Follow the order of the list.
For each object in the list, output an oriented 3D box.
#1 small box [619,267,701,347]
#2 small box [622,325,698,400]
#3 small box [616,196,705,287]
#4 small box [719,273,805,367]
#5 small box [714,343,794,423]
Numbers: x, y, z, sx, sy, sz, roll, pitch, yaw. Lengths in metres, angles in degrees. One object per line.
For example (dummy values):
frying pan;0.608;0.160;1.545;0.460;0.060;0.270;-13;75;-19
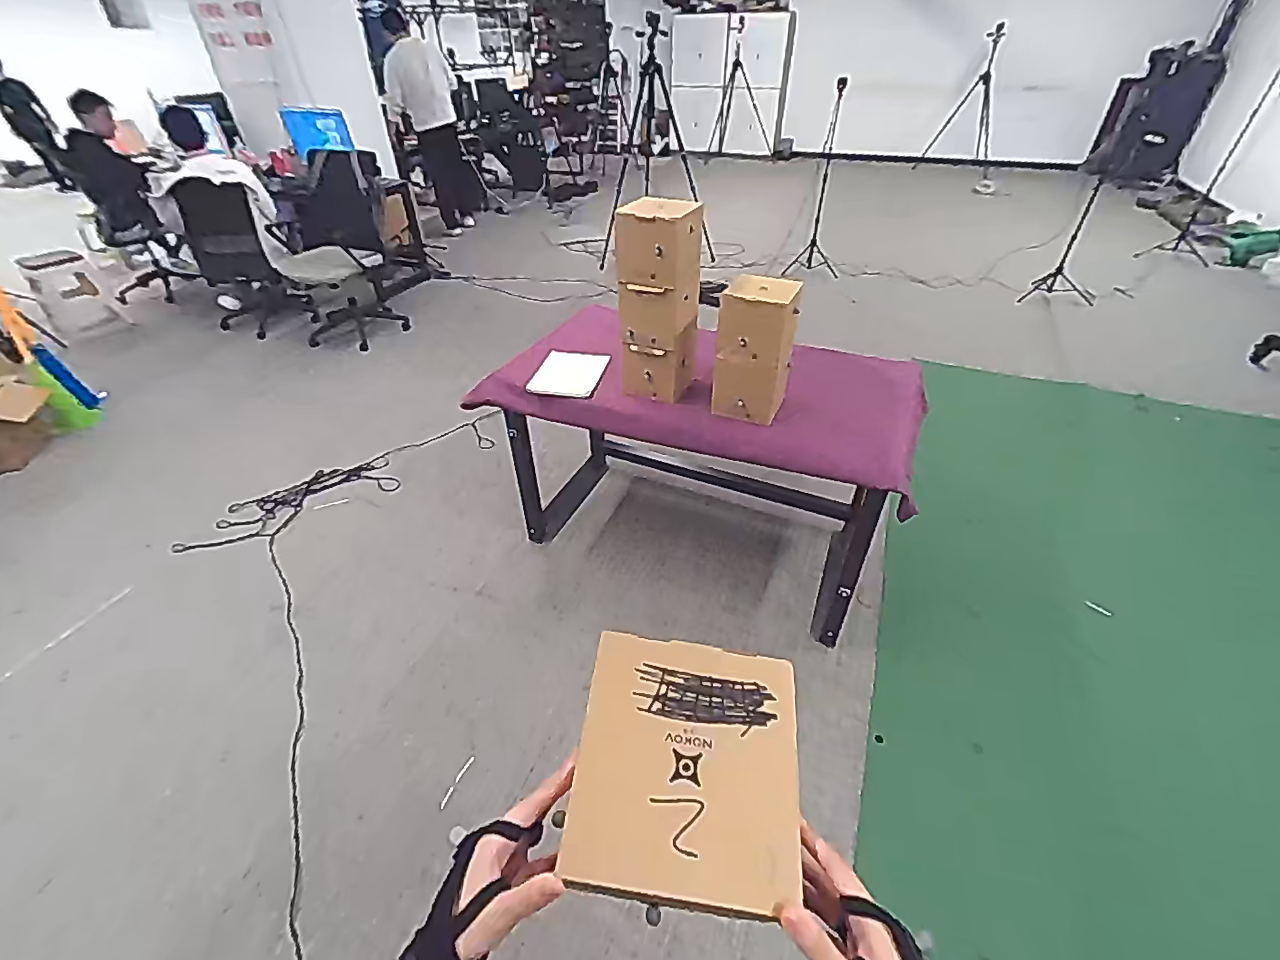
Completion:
small box;0.058;-0.478;1.469;0.168;0.176;0.179;16;41;20
small box;0.062;-0.354;1.578;0.168;0.176;0.179;17;43;19
small box;0.054;-0.602;1.363;0.168;0.176;0.179;17;42;20
small box;0.309;-0.412;1.385;0.168;0.176;0.179;17;42;20
small box;0.309;-0.281;1.481;0.168;0.176;0.179;16;41;20
